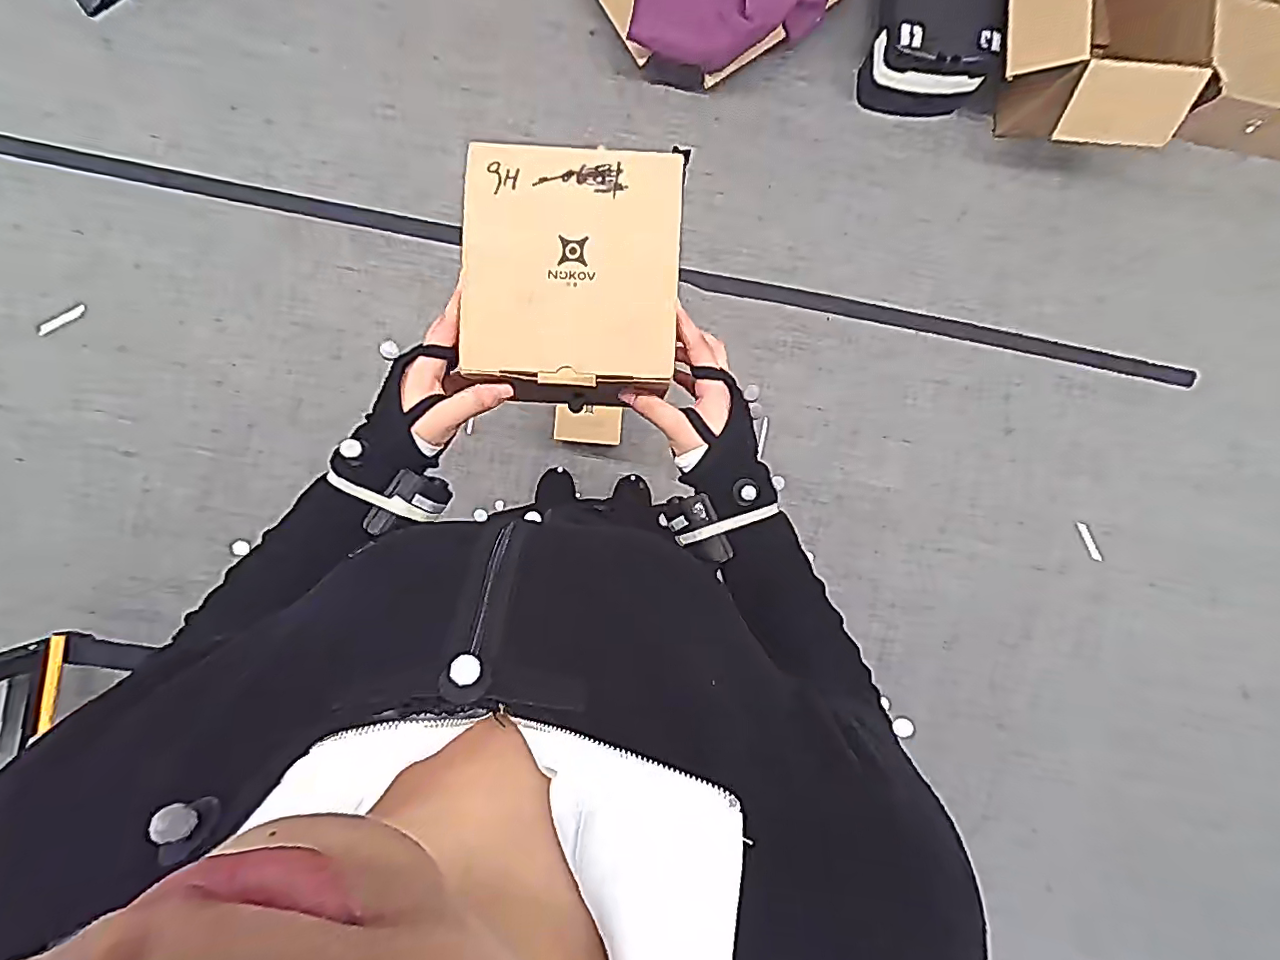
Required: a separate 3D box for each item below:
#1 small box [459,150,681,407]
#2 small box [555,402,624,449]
[{"bbox_3d":[-0.054,-0.161,0.489,0.168,0.176,0.179,2,92,-1],"label":"small box"},{"bbox_3d":[-0.126,-0.174,1.411,0.168,0.176,0.179,4,93,-2],"label":"small box"}]
